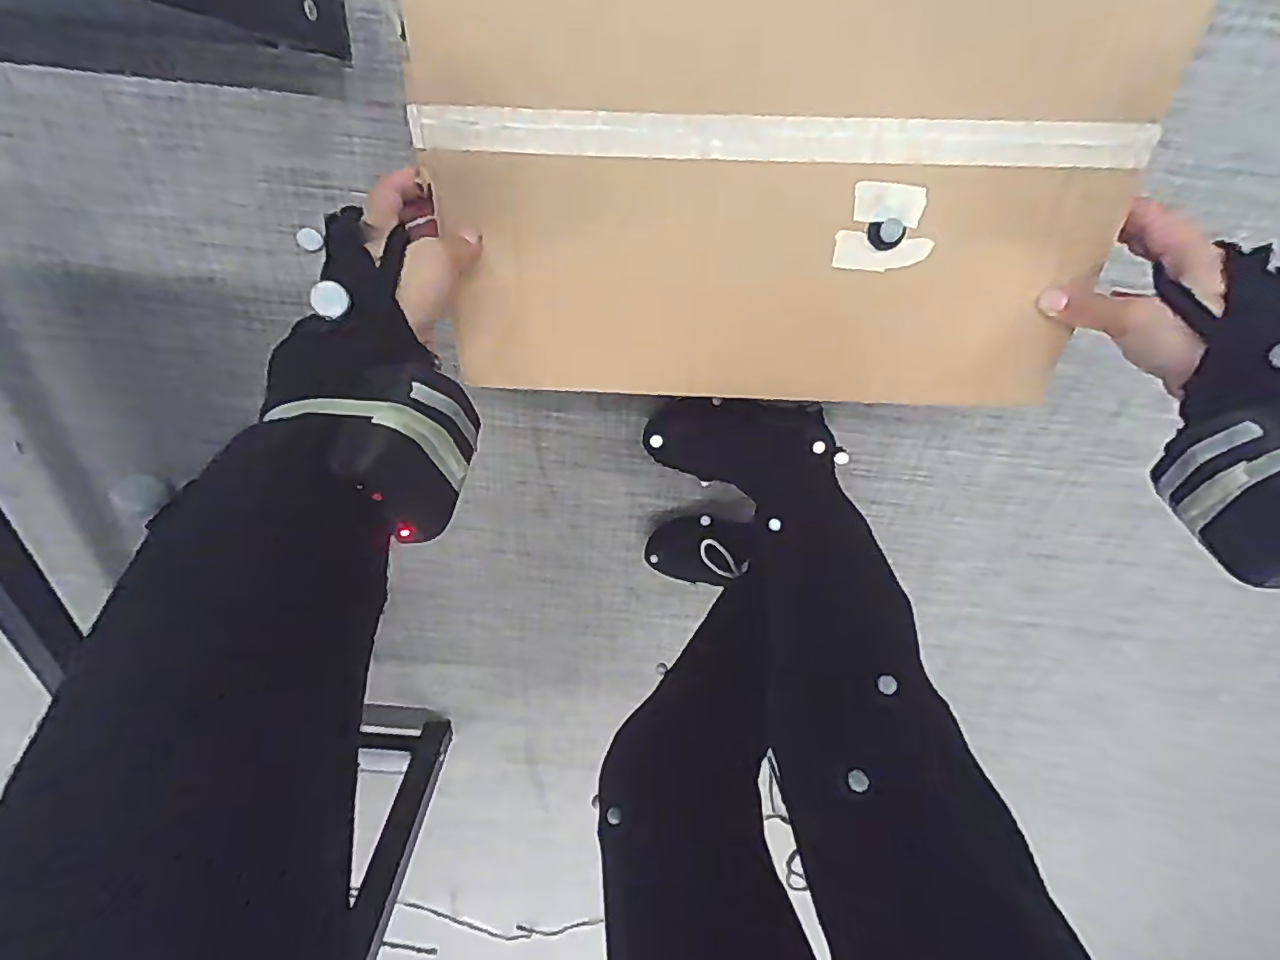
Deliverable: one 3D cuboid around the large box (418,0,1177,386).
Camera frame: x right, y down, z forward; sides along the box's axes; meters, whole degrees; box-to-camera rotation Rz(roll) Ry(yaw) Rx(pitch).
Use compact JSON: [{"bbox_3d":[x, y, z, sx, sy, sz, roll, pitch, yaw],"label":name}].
[{"bbox_3d":[0.079,-0.277,0.442,0.408,0.320,0.320,1,121,0],"label":"large box"}]
